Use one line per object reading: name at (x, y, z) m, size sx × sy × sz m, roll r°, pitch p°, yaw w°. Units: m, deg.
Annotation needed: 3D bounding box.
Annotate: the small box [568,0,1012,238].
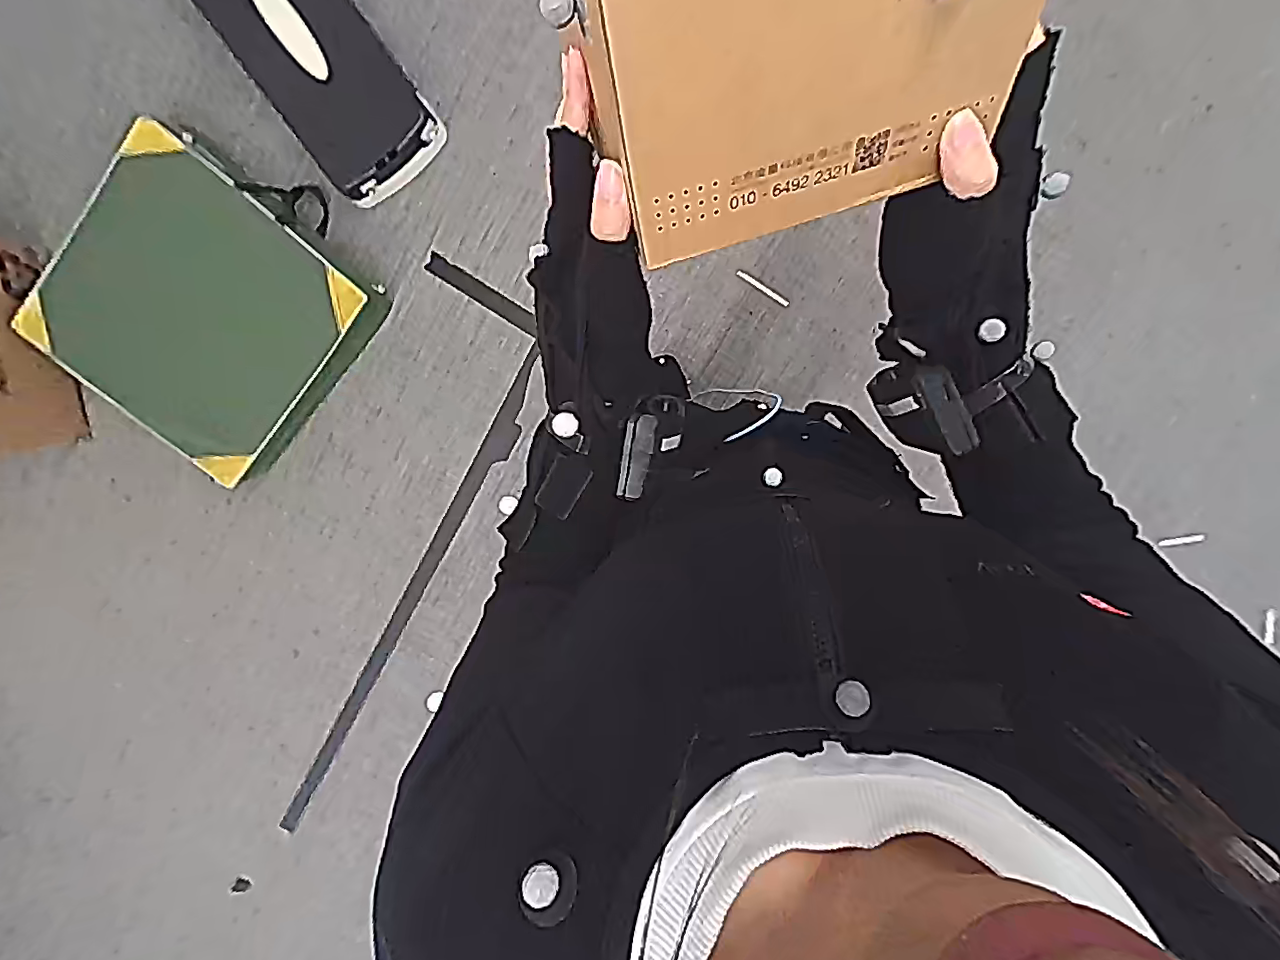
small box at (0.053, -0.236, 0.246) m, size 0.168 × 0.176 × 0.179 m, roll -16°, pitch 58°, yaw 0°
